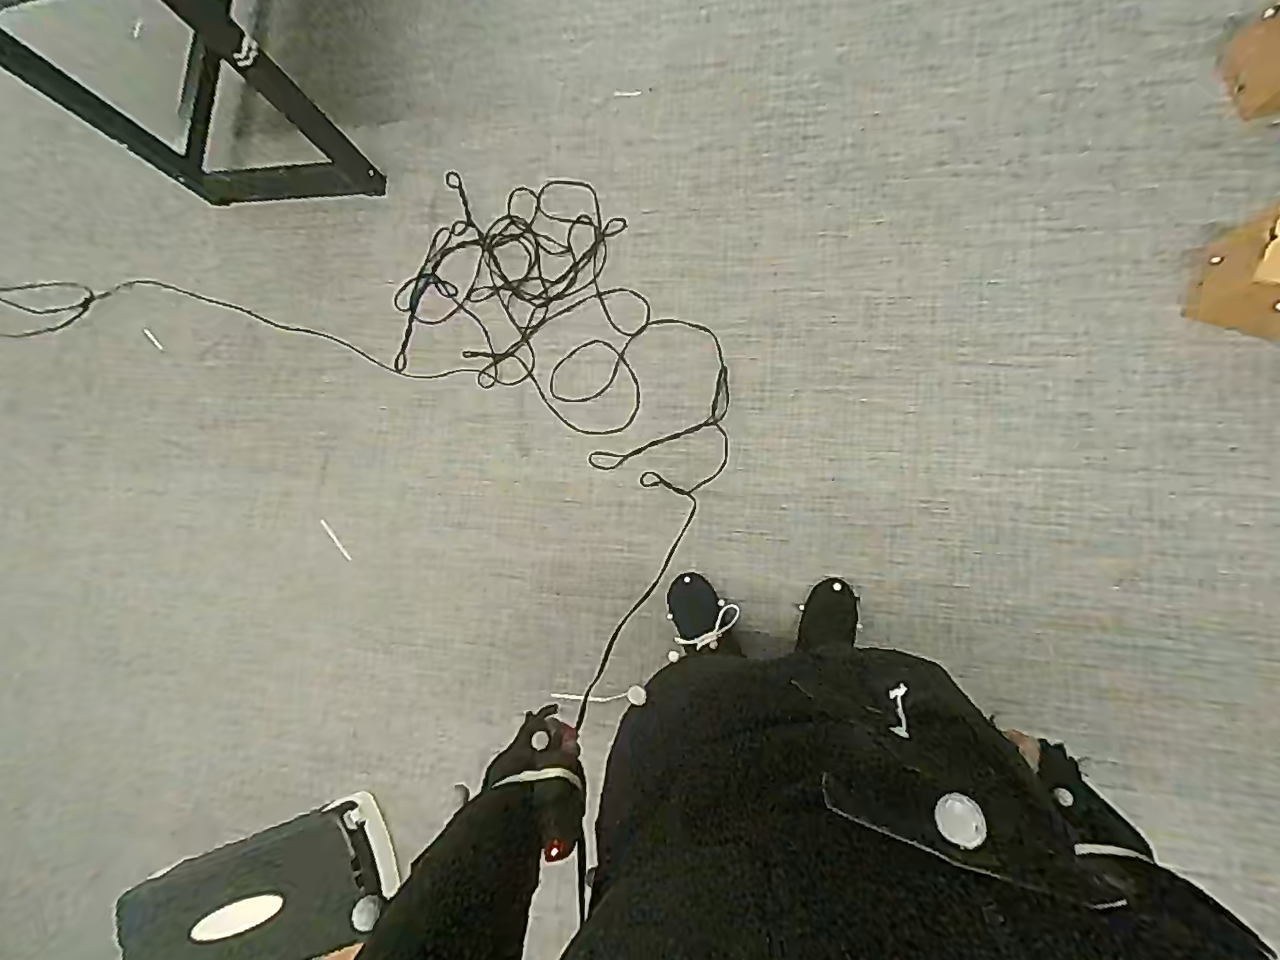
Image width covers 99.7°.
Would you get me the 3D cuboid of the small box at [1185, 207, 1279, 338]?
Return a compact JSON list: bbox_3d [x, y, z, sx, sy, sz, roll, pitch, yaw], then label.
[{"bbox_3d":[1.207,-0.386,1.014,0.179,0.176,0.168,22,88,13],"label":"small box"}]
